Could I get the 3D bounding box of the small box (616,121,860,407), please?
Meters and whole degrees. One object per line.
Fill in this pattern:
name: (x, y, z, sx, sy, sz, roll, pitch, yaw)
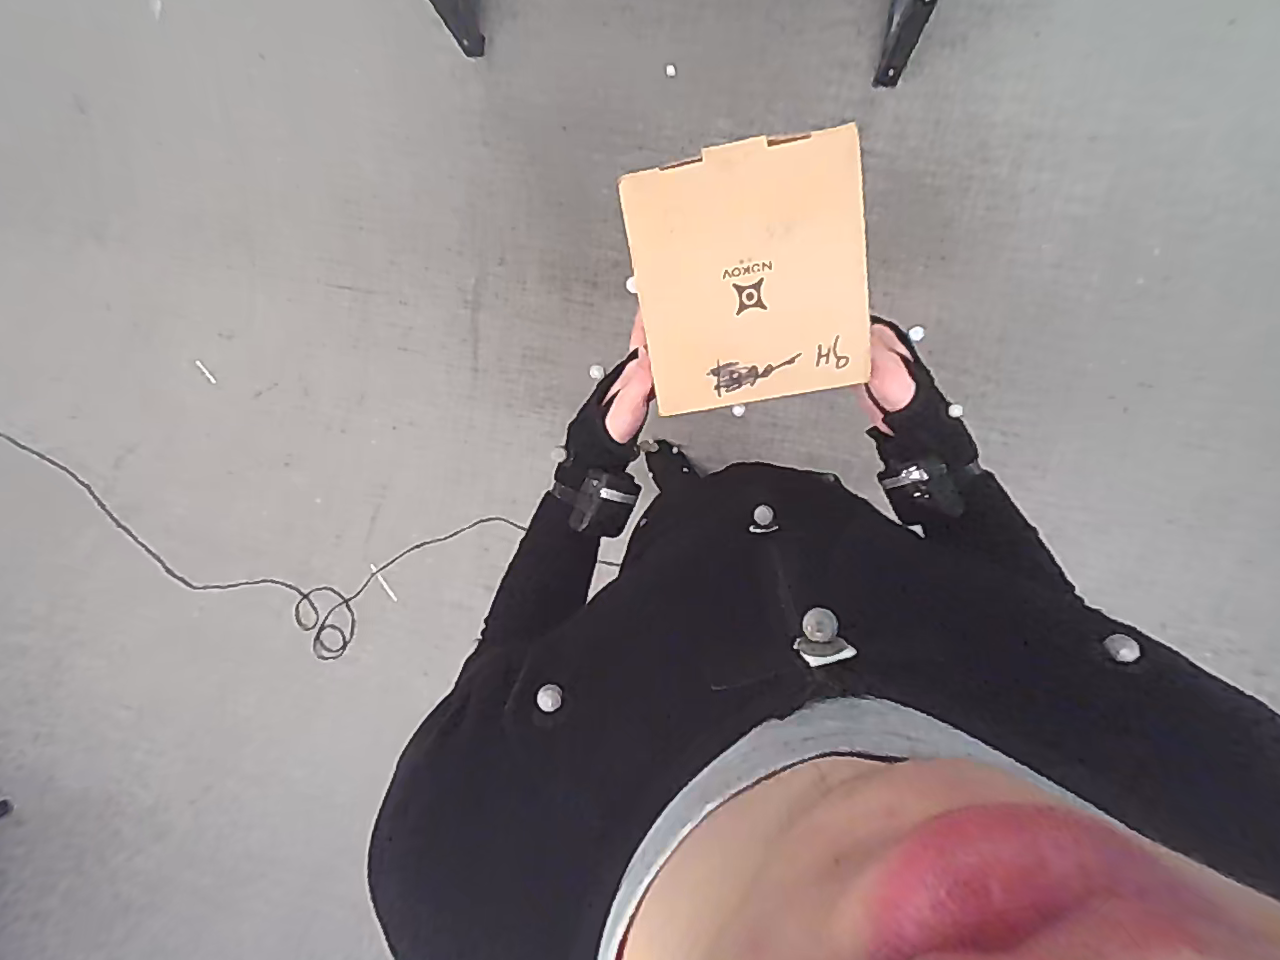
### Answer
small box: (0.080, -0.175, 0.471, 0.168, 0.176, 0.179, -8, 110, 8)
